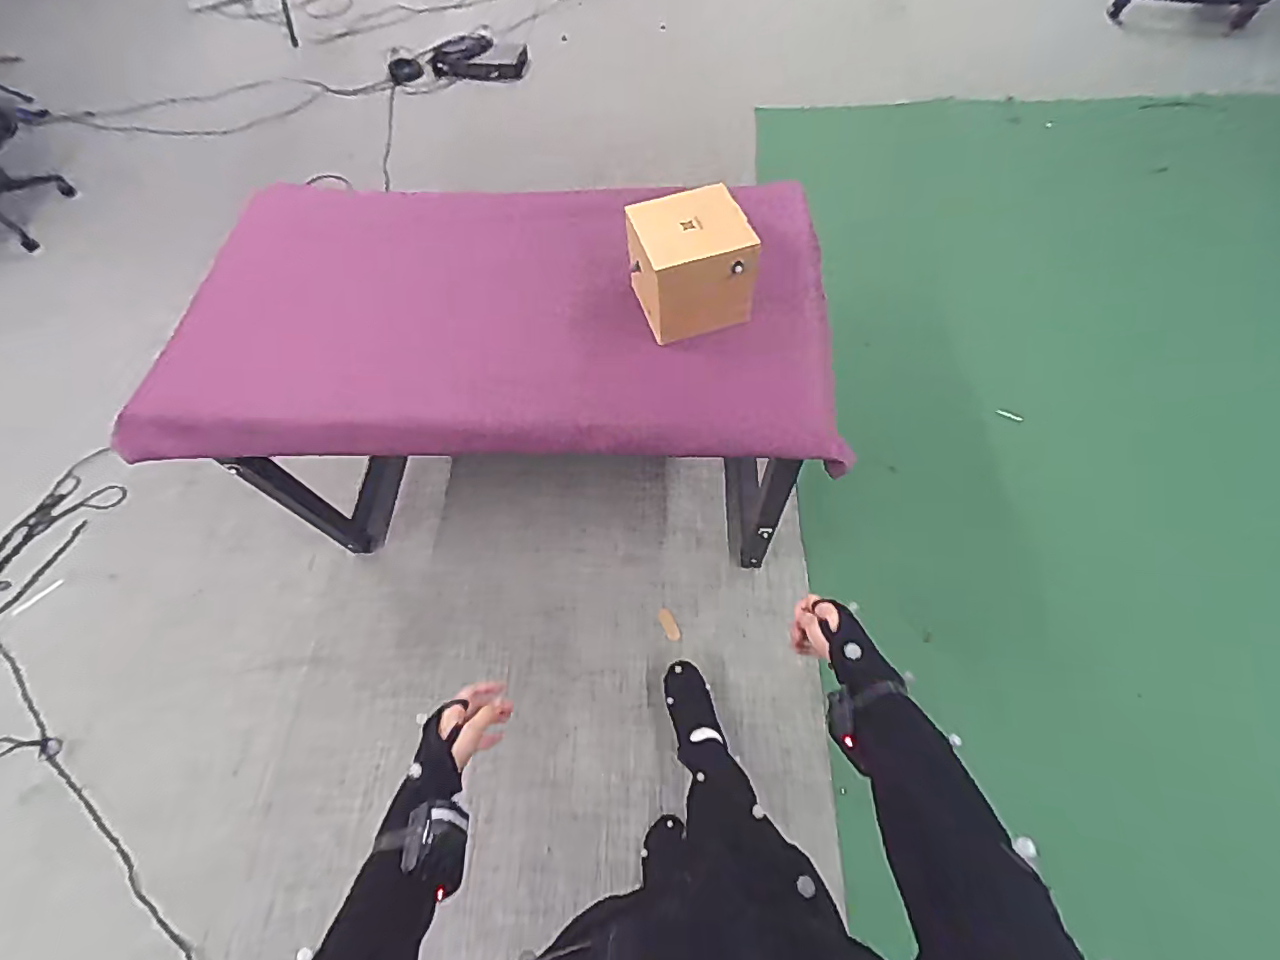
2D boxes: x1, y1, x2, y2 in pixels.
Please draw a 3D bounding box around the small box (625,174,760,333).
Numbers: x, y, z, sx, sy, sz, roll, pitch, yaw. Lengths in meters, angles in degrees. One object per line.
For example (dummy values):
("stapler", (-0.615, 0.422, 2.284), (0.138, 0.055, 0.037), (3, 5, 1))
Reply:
("small box", (0.085, -0.378, 0.922), (0.179, 0.176, 0.168), (-17, 62, -6))
